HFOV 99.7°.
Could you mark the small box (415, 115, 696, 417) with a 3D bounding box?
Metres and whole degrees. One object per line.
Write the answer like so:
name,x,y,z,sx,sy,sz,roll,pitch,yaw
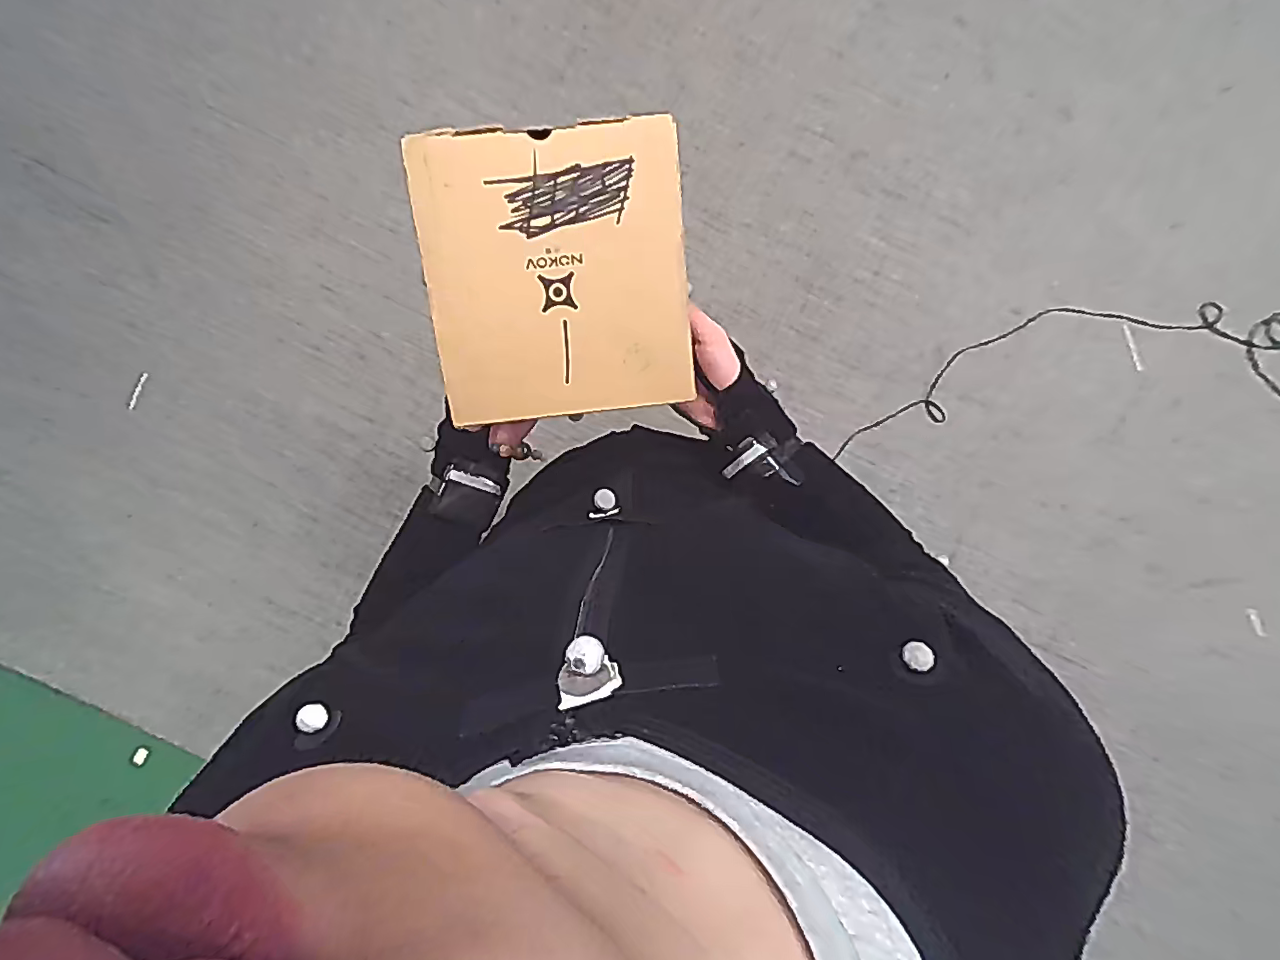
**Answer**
small box,-0.054,-0.152,0.424,0.168,0.176,0.179,-6,105,-2
